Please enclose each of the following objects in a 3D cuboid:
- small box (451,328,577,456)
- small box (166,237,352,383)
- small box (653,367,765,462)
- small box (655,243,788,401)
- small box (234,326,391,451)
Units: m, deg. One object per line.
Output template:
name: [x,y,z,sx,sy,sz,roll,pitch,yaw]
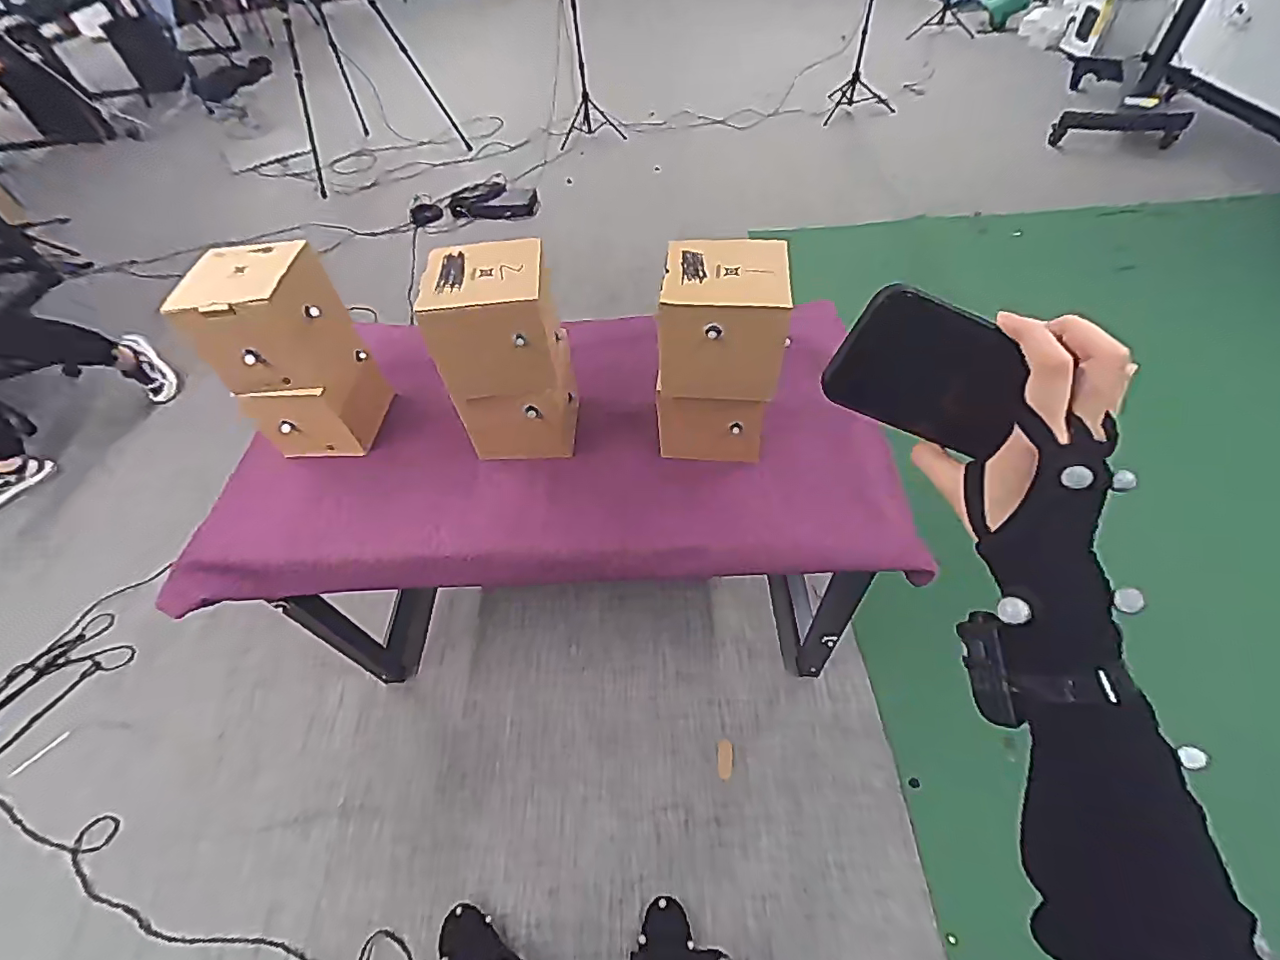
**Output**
small box: [-0.216,-0.157,0.986,0.179,0.176,0.168,-1,52,4]
small box: [-0.614,-0.276,0.903,0.168,0.176,0.179,-4,53,1]
small box: [0.124,-0.147,0.954,0.179,0.176,0.168,4,52,9]
small box: [0.121,-0.235,0.815,0.179,0.176,0.168,5,53,7]
small box: [-0.604,-0.169,1.028,0.168,0.176,0.179,0,52,4]
